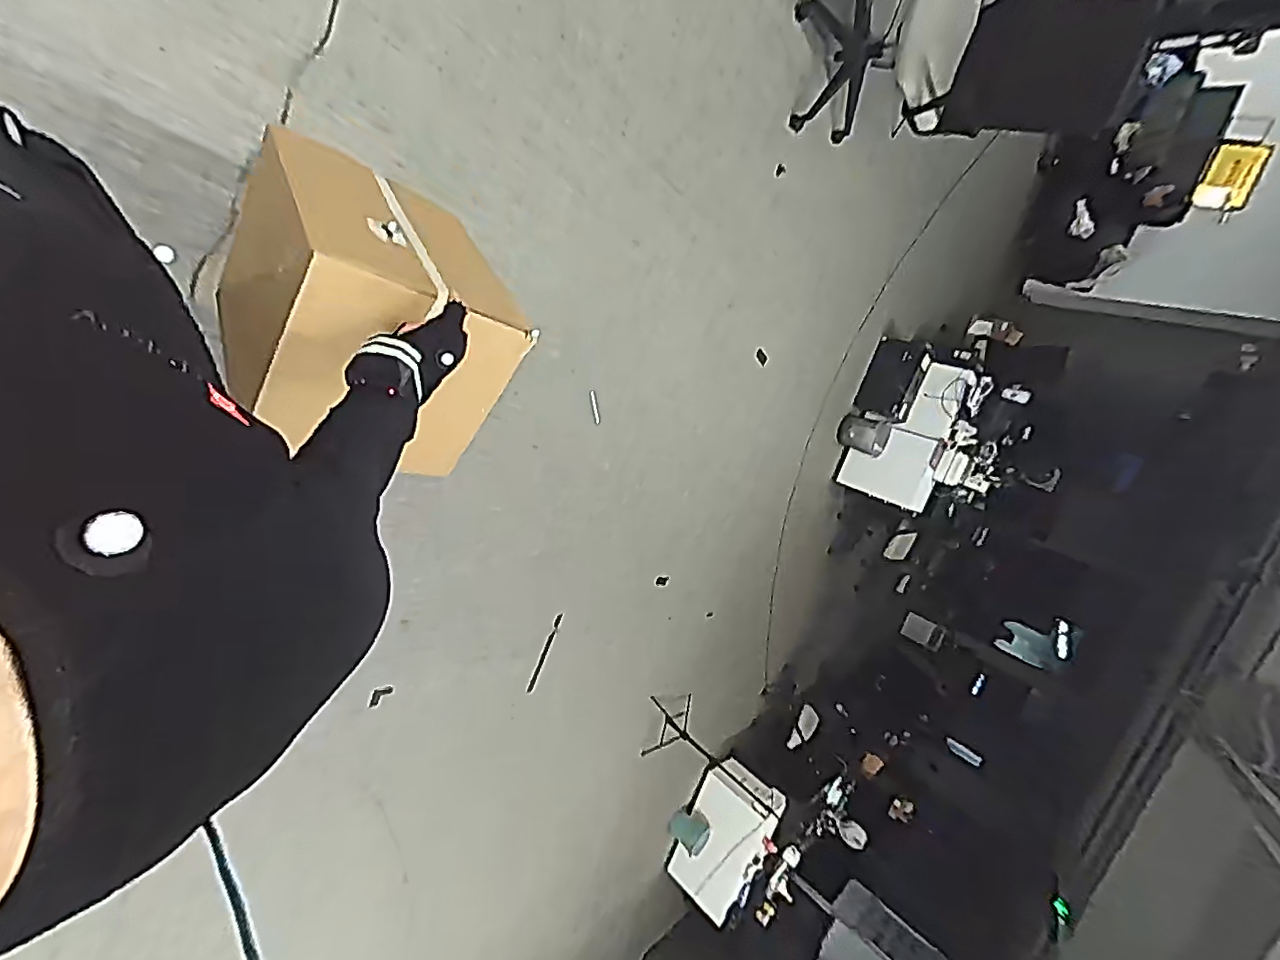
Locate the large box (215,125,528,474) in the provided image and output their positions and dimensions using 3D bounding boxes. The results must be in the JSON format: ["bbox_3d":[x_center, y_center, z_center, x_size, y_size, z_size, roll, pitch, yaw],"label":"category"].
[{"bbox_3d":[-0.452,-0.269,0.882,0.320,0.408,0.320,9,130,-48],"label":"large box"}]
